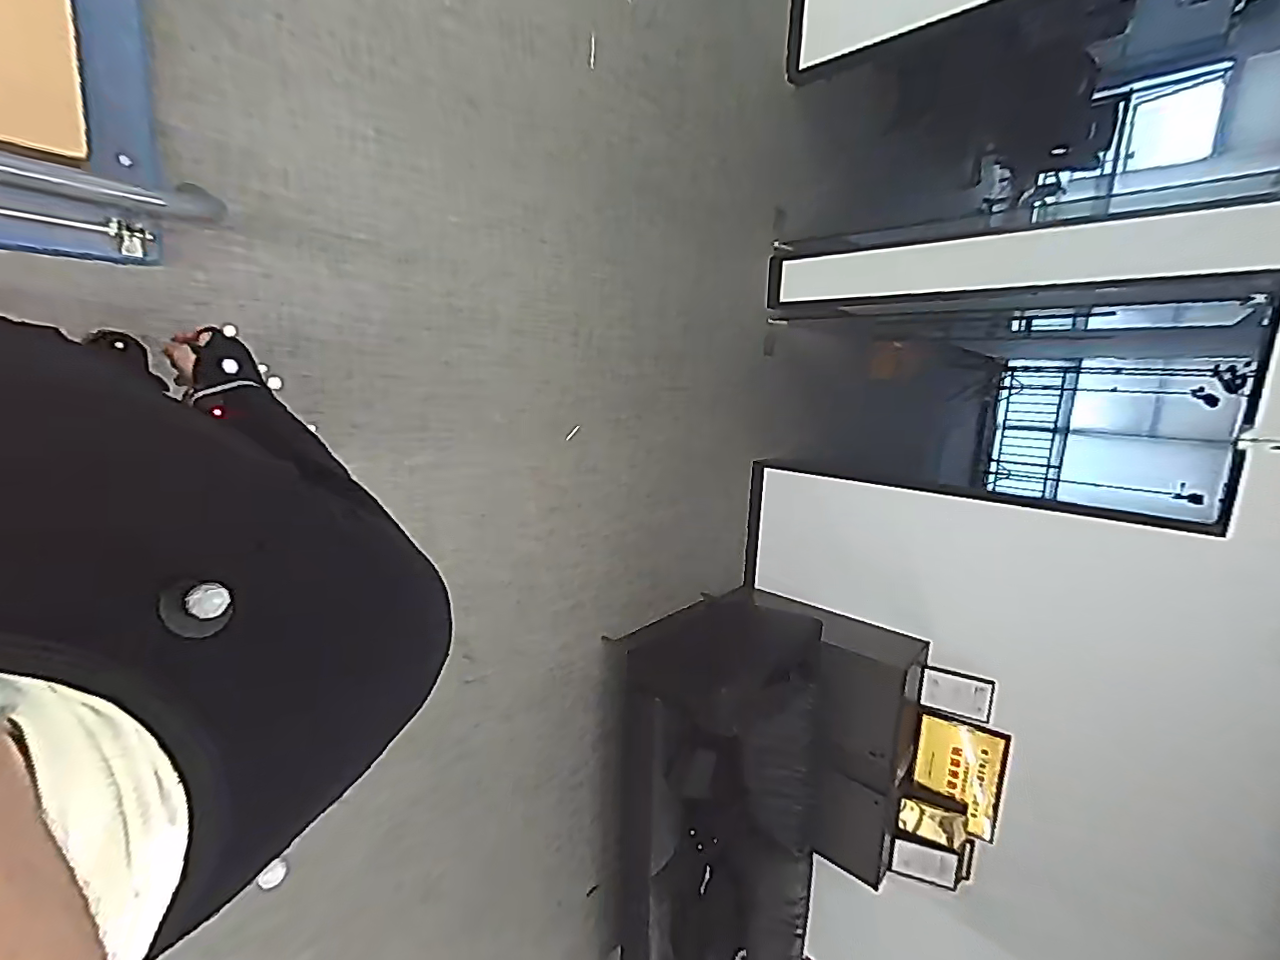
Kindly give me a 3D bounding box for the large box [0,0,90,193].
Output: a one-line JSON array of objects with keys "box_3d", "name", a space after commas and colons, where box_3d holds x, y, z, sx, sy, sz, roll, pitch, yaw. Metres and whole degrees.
[{"box_3d": [-1.019, -0.676, 0.749, 0.320, 0.320, 0.408, -9, 105, -49], "name": "large box"}]
